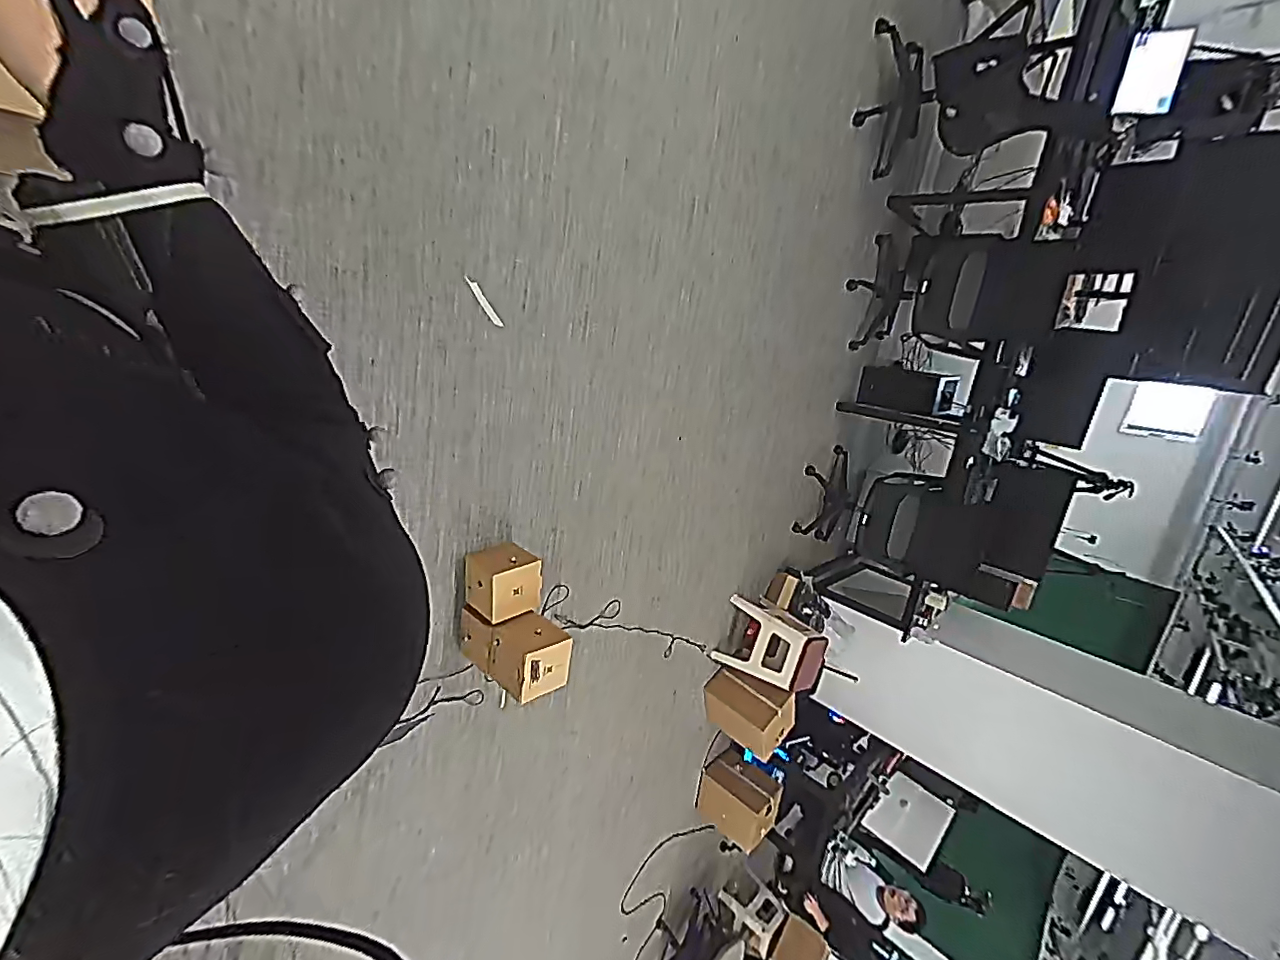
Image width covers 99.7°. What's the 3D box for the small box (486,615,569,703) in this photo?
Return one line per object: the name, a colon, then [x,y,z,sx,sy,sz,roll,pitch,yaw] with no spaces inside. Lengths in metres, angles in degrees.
small box: [-0.343,0.531,1.628,0.179,0.176,0.168,-6,110,-48]
